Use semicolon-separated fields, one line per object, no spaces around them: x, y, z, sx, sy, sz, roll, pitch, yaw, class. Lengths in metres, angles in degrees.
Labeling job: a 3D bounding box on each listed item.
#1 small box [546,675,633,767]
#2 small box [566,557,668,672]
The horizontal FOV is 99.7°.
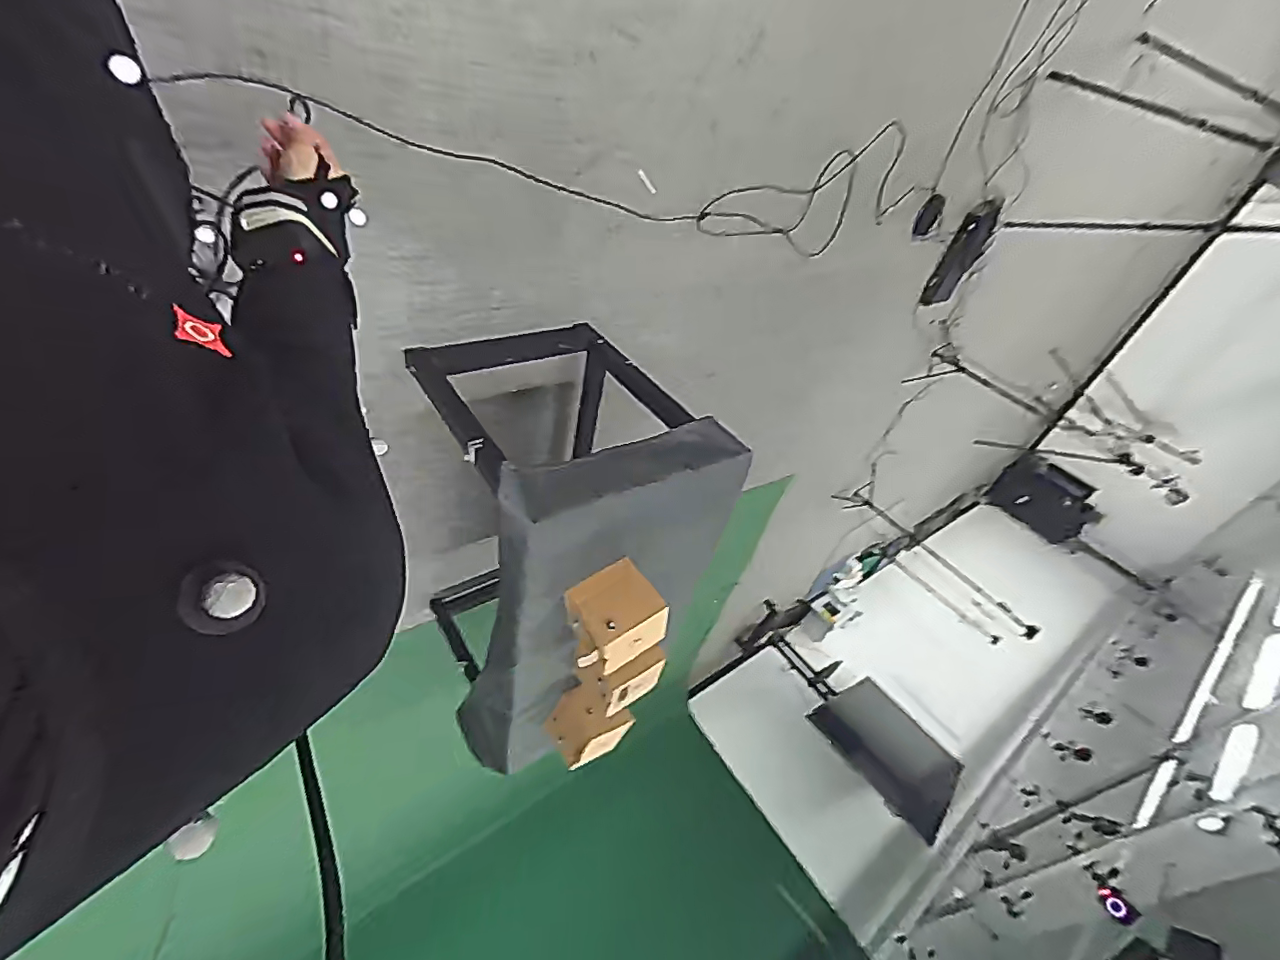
-0.161;0.737;1.673;0.179;0.176;0.168;-2;131;-48;small box
-0.058;0.315;1.290;0.179;0.176;0.168;-27;145;-24;small box
